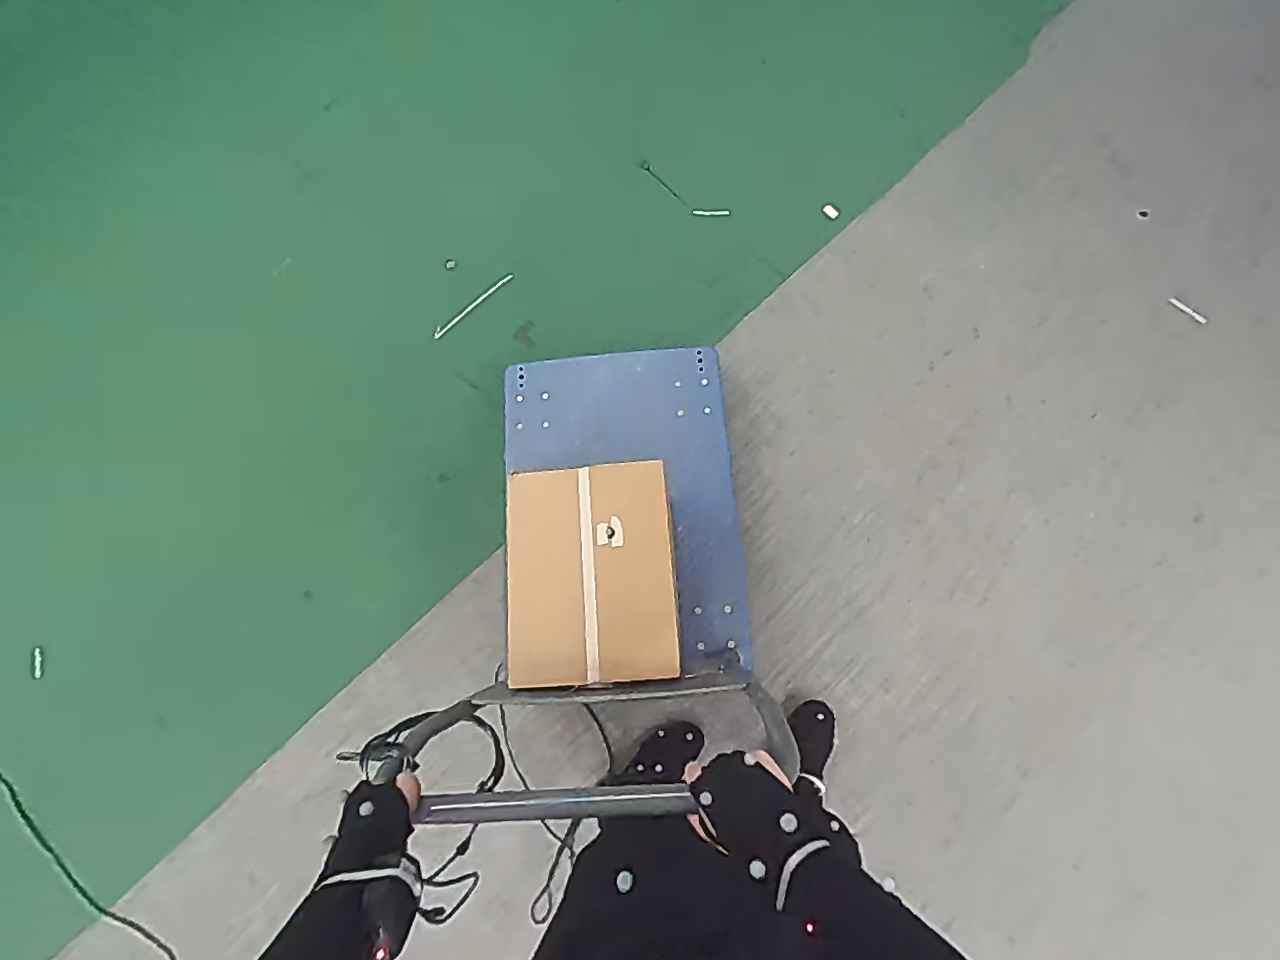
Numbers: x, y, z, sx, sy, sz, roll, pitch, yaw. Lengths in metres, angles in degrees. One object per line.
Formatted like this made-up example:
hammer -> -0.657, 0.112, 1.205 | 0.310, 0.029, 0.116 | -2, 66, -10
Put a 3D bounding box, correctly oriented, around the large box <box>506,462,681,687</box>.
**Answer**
large box -> -0.087, 0.208, 1.157 | 0.320, 0.320, 0.408 | -5, 75, 3
